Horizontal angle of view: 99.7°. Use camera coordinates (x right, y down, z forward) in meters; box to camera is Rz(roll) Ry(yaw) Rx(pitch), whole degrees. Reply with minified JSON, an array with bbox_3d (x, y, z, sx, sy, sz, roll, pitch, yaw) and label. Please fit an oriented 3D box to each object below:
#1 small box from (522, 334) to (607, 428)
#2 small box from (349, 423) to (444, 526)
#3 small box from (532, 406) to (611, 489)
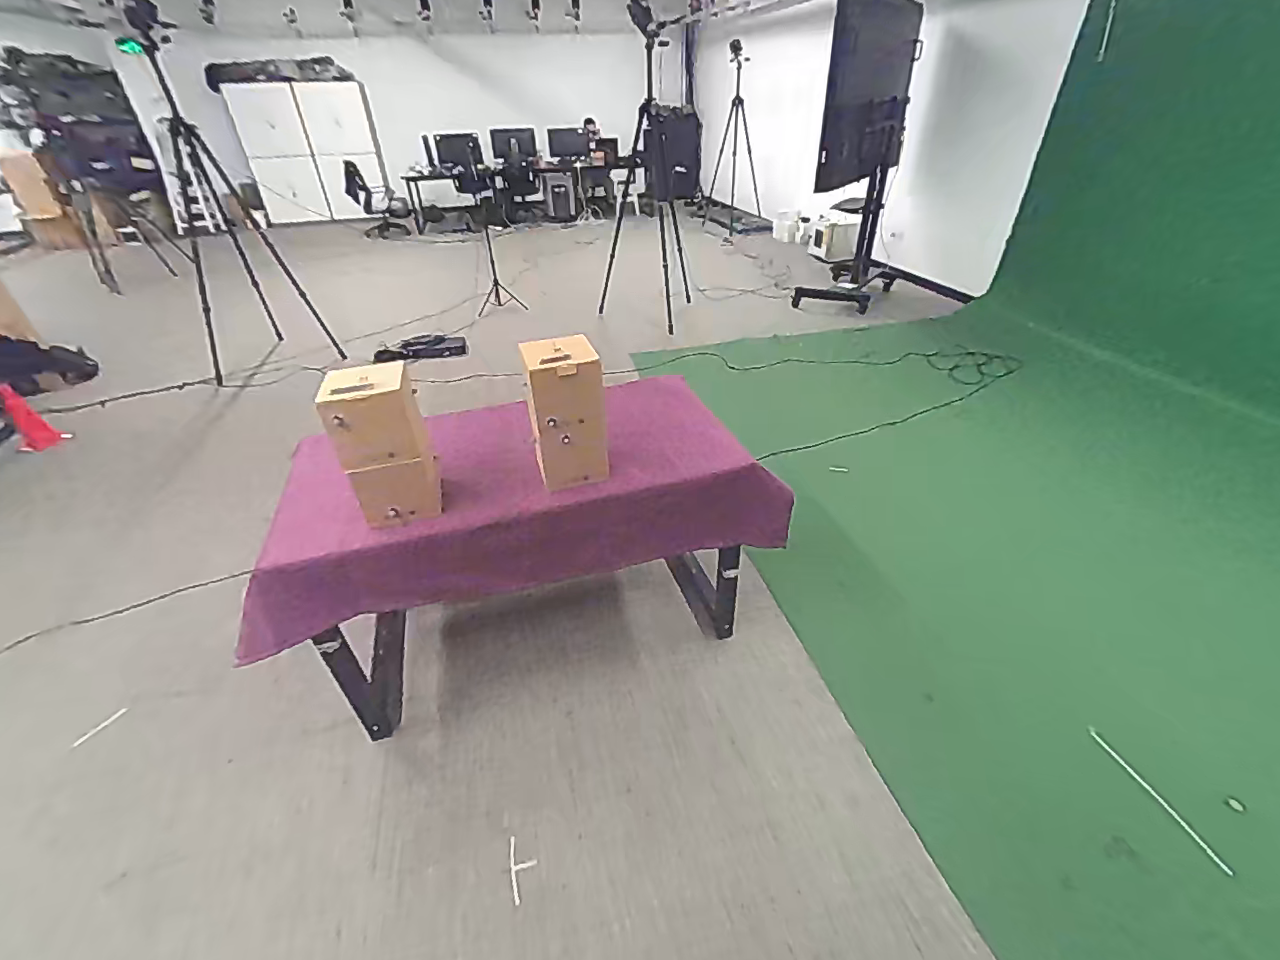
[{"bbox_3d":[-0.183,-0.236,1.312,0.168,0.176,0.179,-12,36,-14],"label":"small box"},{"bbox_3d":[-0.579,-0.015,1.309,0.168,0.176,0.179,-11,37,-12],"label":"small box"},{"bbox_3d":[-0.178,-0.101,1.406,0.168,0.176,0.179,-13,36,-12],"label":"small box"}]
